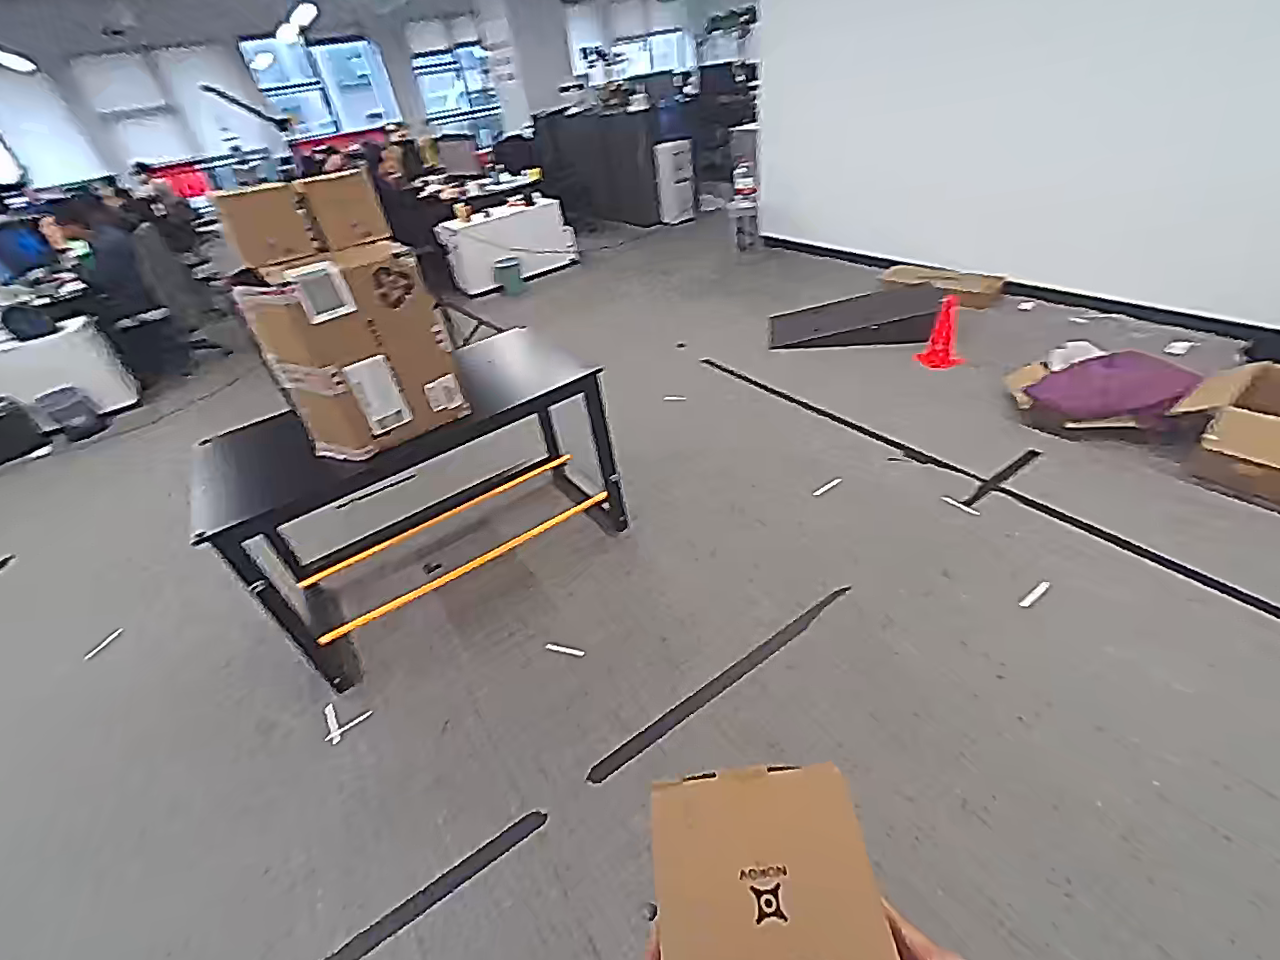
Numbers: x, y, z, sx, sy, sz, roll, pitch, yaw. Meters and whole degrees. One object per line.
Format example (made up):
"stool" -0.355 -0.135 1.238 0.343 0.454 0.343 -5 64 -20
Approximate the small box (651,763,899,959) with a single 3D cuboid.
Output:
"small box" 0.099 0.368 0.457 0.168 0.176 0.179 -6 43 -1

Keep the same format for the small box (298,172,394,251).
"small box" -0.819 -0.750 1.509 0.168 0.176 0.179 -30 40 -26

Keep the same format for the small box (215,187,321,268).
"small box" -0.976 -0.664 1.422 0.168 0.176 0.179 -30 40 -29
